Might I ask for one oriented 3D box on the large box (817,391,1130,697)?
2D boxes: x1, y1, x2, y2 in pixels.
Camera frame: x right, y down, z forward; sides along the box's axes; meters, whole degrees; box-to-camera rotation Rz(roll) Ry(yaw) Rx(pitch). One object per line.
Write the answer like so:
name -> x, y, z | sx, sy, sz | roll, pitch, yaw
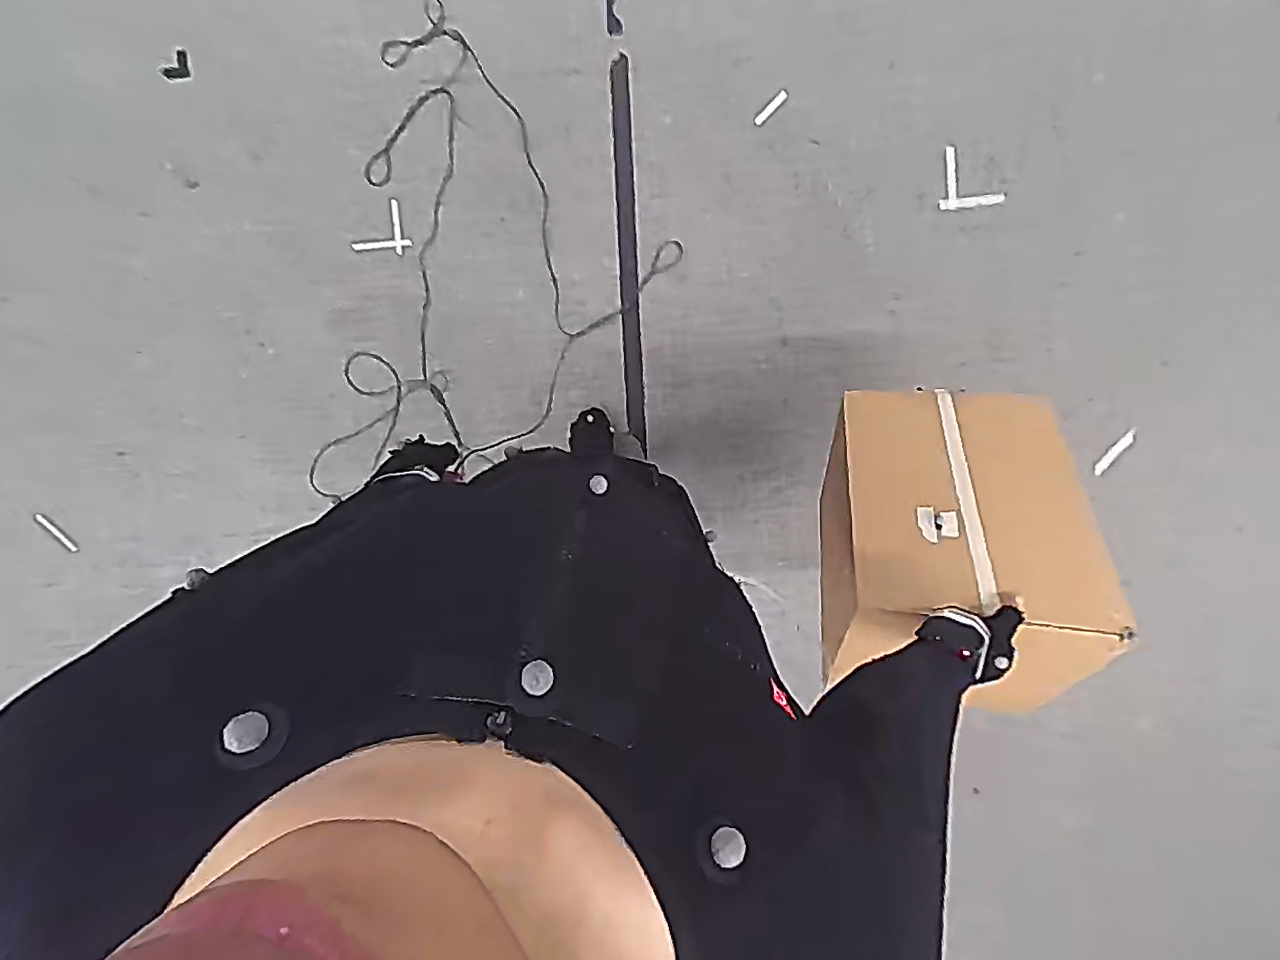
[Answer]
large box -> 0.487, 0.101, 0.910 | 0.320, 0.320, 0.408 | 3, 54, 12
